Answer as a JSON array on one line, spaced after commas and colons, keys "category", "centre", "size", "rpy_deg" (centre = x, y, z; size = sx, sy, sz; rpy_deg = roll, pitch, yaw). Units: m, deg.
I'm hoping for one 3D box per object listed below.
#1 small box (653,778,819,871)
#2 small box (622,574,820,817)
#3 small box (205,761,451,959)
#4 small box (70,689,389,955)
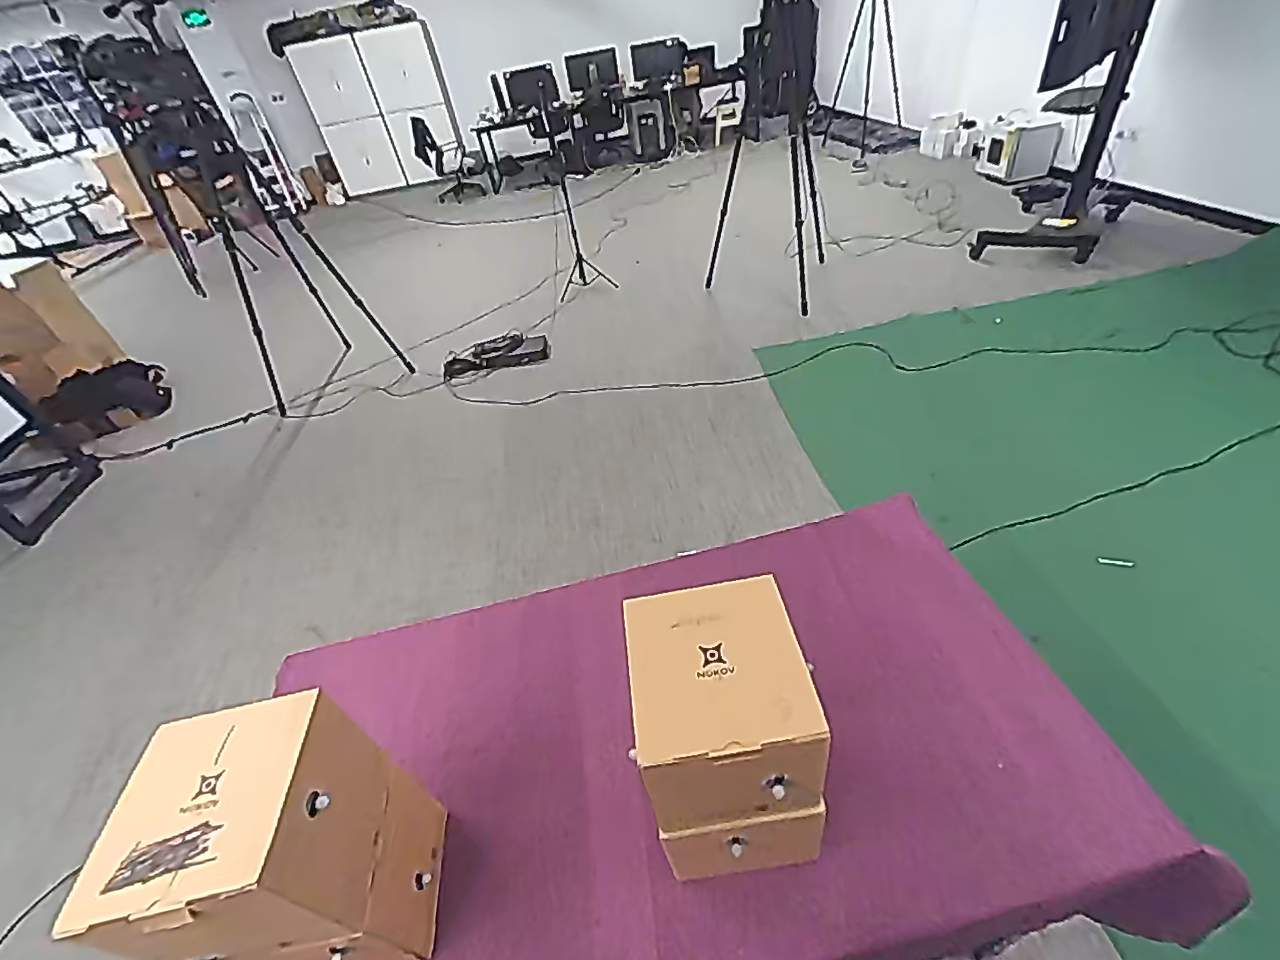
[{"category": "small box", "centre": [0.110, 0.357, 0.668], "size": [0.179, 0.176, 0.168], "rpy_deg": [-11, 41, 3]}, {"category": "small box", "centre": [0.080, 0.230, 0.569], "size": [0.168, 0.176, 0.179], "rpy_deg": [-11, 40, 2]}, {"category": "small box", "centre": [-0.353, 0.476, 0.655], "size": [0.179, 0.176, 0.168], "rpy_deg": [-13, 40, -1]}, {"category": "small box", "centre": [-0.383, 0.351, 0.552], "size": [0.168, 0.176, 0.179], "rpy_deg": [-13, 39, -2]}]
